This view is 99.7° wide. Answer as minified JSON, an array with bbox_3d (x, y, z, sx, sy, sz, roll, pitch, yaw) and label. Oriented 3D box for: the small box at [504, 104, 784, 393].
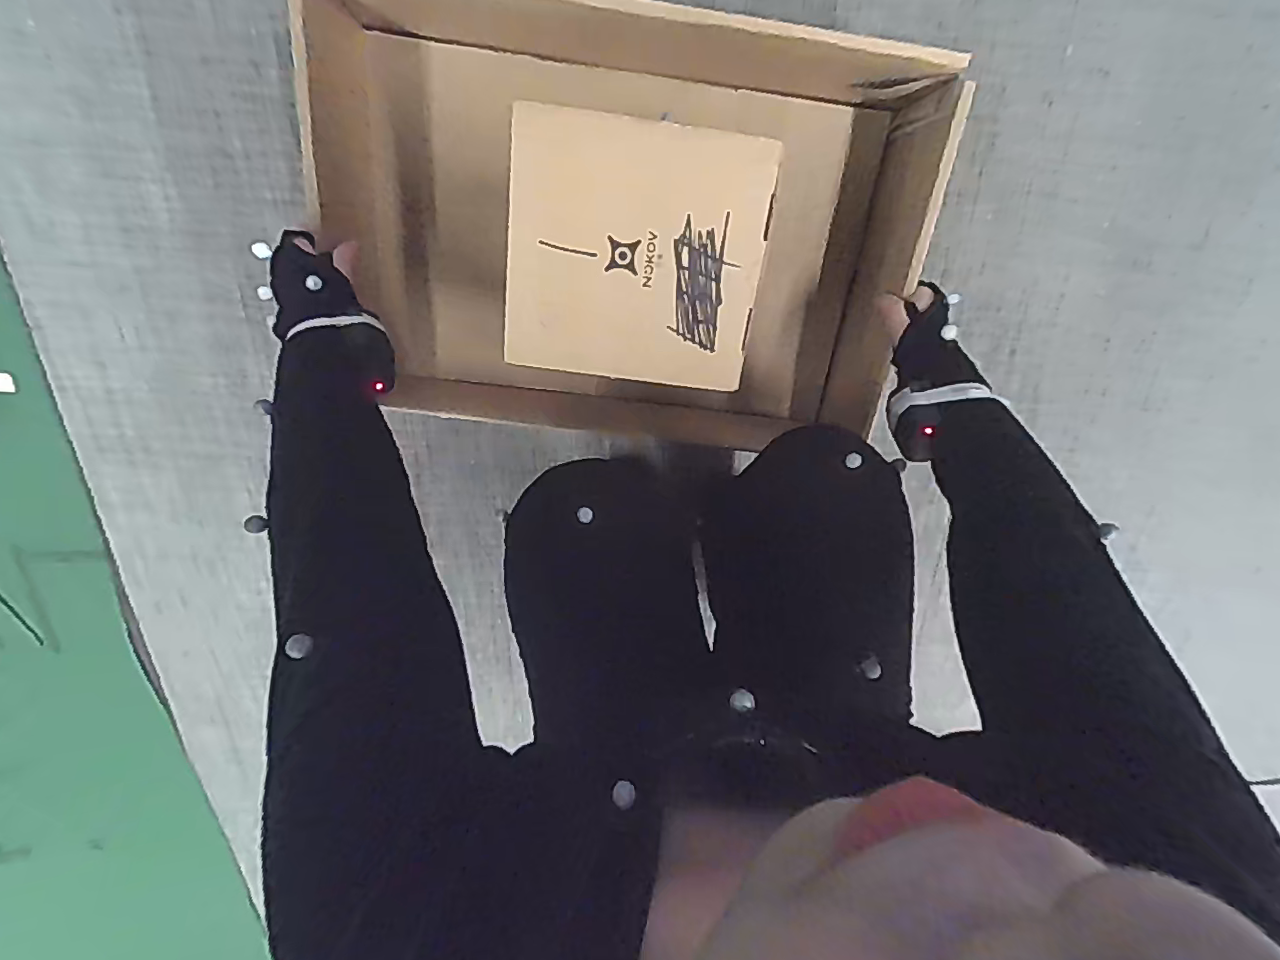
[{"bbox_3d":[-0.003,-0.180,0.445,0.179,0.176,0.168,7,111,-2],"label":"small box"}]
